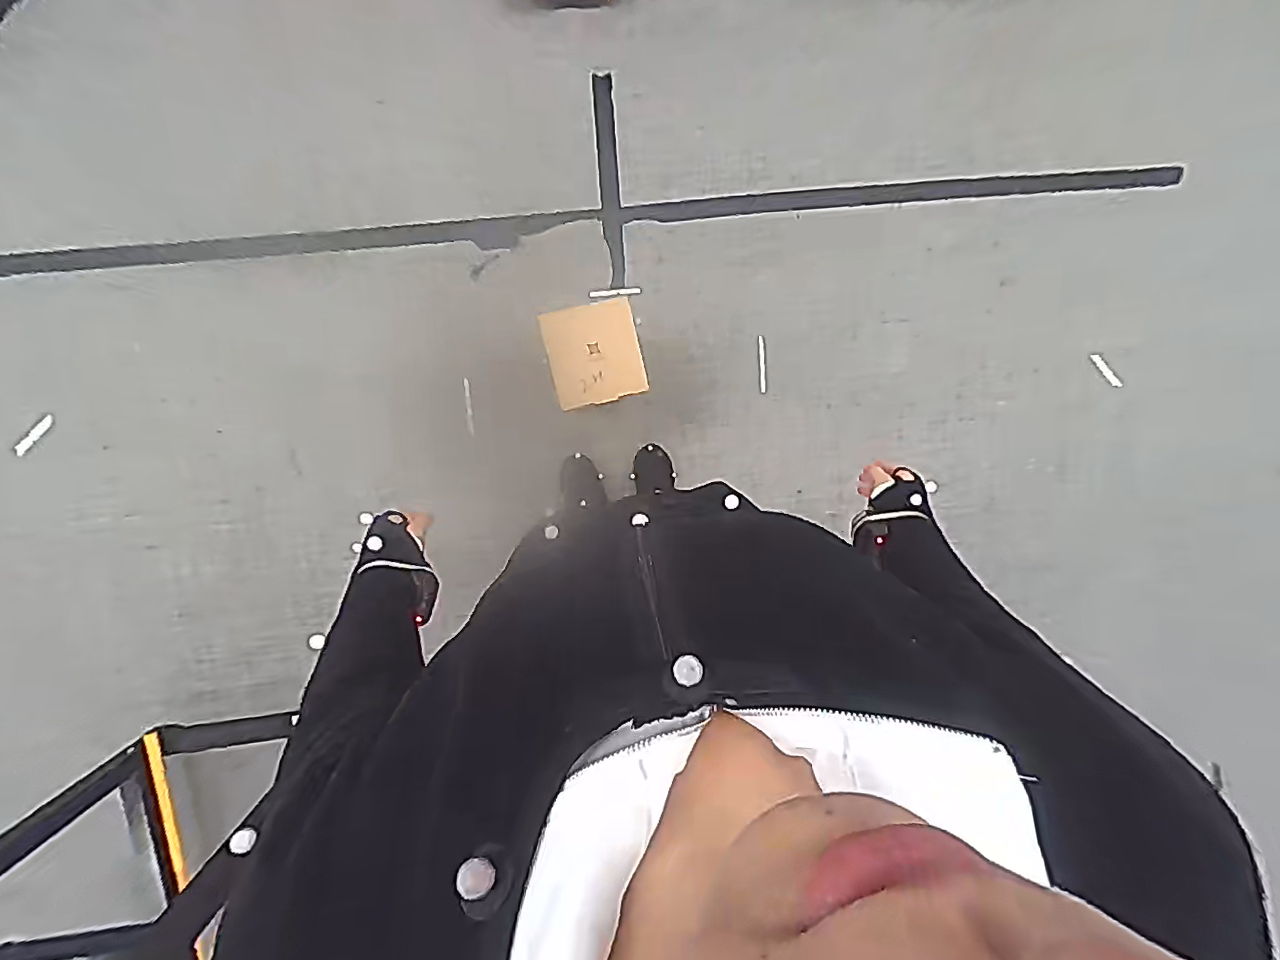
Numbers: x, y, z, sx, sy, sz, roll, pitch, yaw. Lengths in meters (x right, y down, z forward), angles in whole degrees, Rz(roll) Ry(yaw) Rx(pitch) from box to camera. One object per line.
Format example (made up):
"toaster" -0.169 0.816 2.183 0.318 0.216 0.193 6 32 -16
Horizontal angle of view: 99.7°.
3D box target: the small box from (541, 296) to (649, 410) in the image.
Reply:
"small box" -0.085 -0.236 1.045 0.168 0.176 0.179 -14 99 -2
